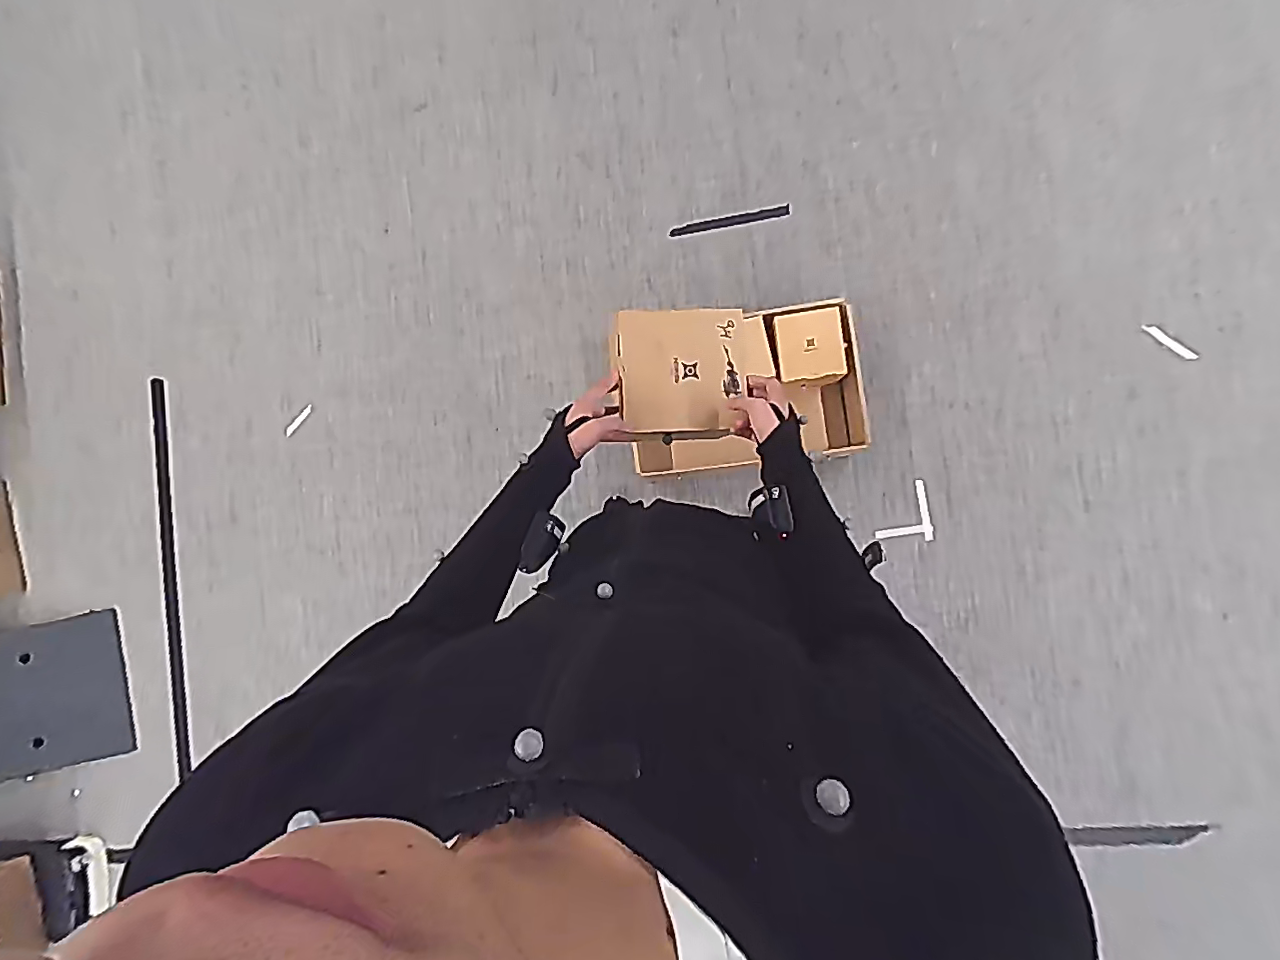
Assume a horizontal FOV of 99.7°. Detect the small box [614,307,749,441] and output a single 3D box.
[{"bbox_3d":[0.051,-0.147,0.795,0.179,0.176,0.168,-3,91,-6],"label":"small box"}]
